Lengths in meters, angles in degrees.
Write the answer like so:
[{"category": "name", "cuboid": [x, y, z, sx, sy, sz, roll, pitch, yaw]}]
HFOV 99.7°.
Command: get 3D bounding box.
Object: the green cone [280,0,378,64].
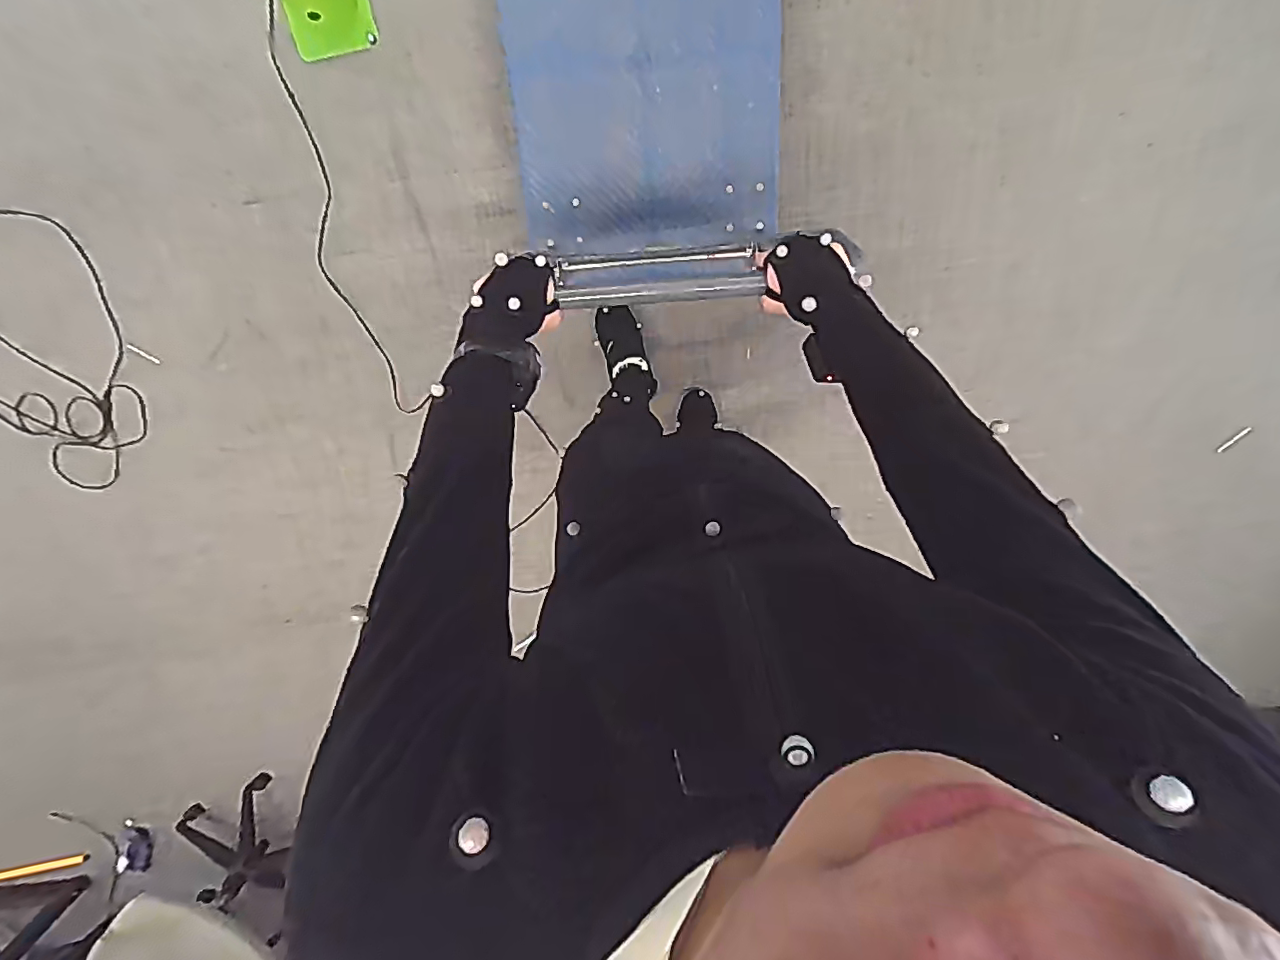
[{"category": "green cone", "cuboid": [-0.739, -1.051, 1.099, 0.202, 0.368, 0.200, -9, 109, 6]}]
